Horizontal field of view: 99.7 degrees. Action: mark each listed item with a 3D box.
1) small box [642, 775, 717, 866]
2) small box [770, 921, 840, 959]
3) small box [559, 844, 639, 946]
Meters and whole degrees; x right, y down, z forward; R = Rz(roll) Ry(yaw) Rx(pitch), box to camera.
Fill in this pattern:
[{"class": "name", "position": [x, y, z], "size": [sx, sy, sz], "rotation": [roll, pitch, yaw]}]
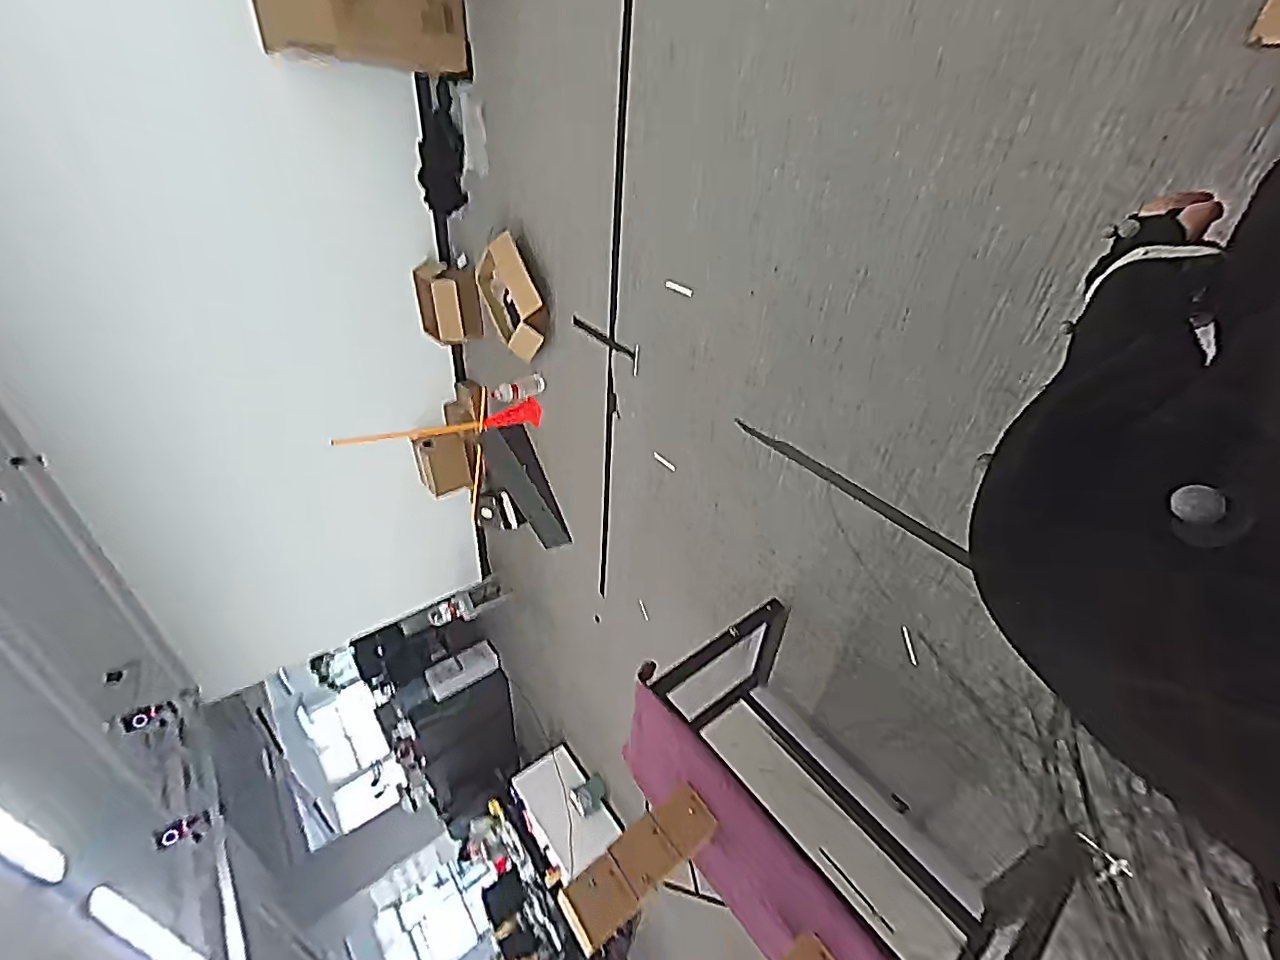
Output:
[{"class": "small box", "position": [0.130, 1.120, 1.784], "size": [0.168, 0.176, 0.179], "rotation": [43, 140, 32]}, {"class": "small box", "position": [0.447, 1.357, 1.466], "size": [0.168, 0.176, 0.179], "rotation": [41, 138, 35]}, {"class": "small box", "position": [-0.122, 1.224, 1.603], "size": [0.168, 0.176, 0.179], "rotation": [46, 143, 32]}]
